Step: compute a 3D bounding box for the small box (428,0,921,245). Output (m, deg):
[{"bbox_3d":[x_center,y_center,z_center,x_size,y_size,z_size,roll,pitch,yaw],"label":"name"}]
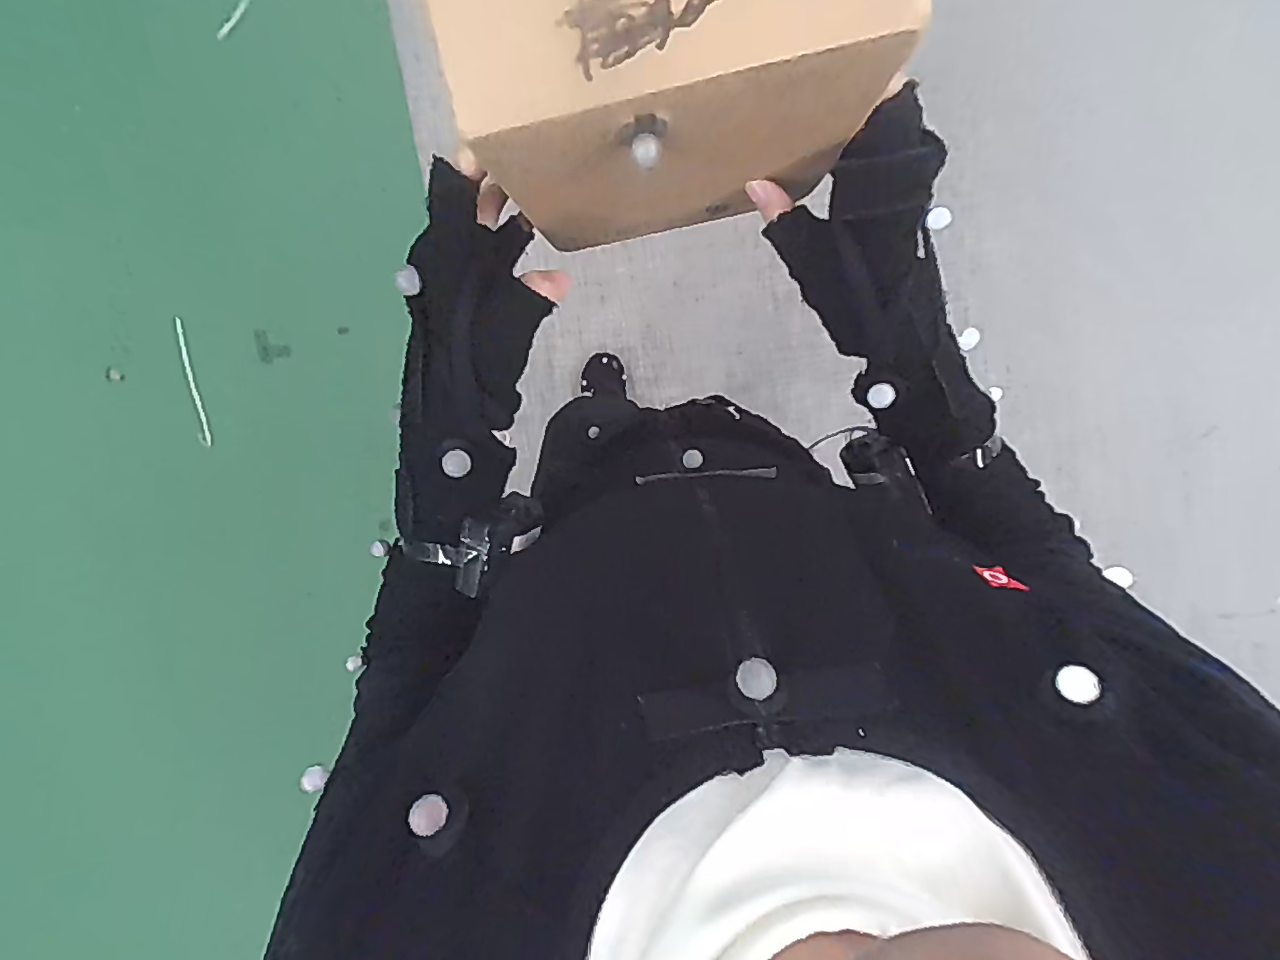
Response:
[{"bbox_3d":[0.004,-0.235,0.253,0.168,0.176,0.179,-10,99,6],"label":"small box"}]
